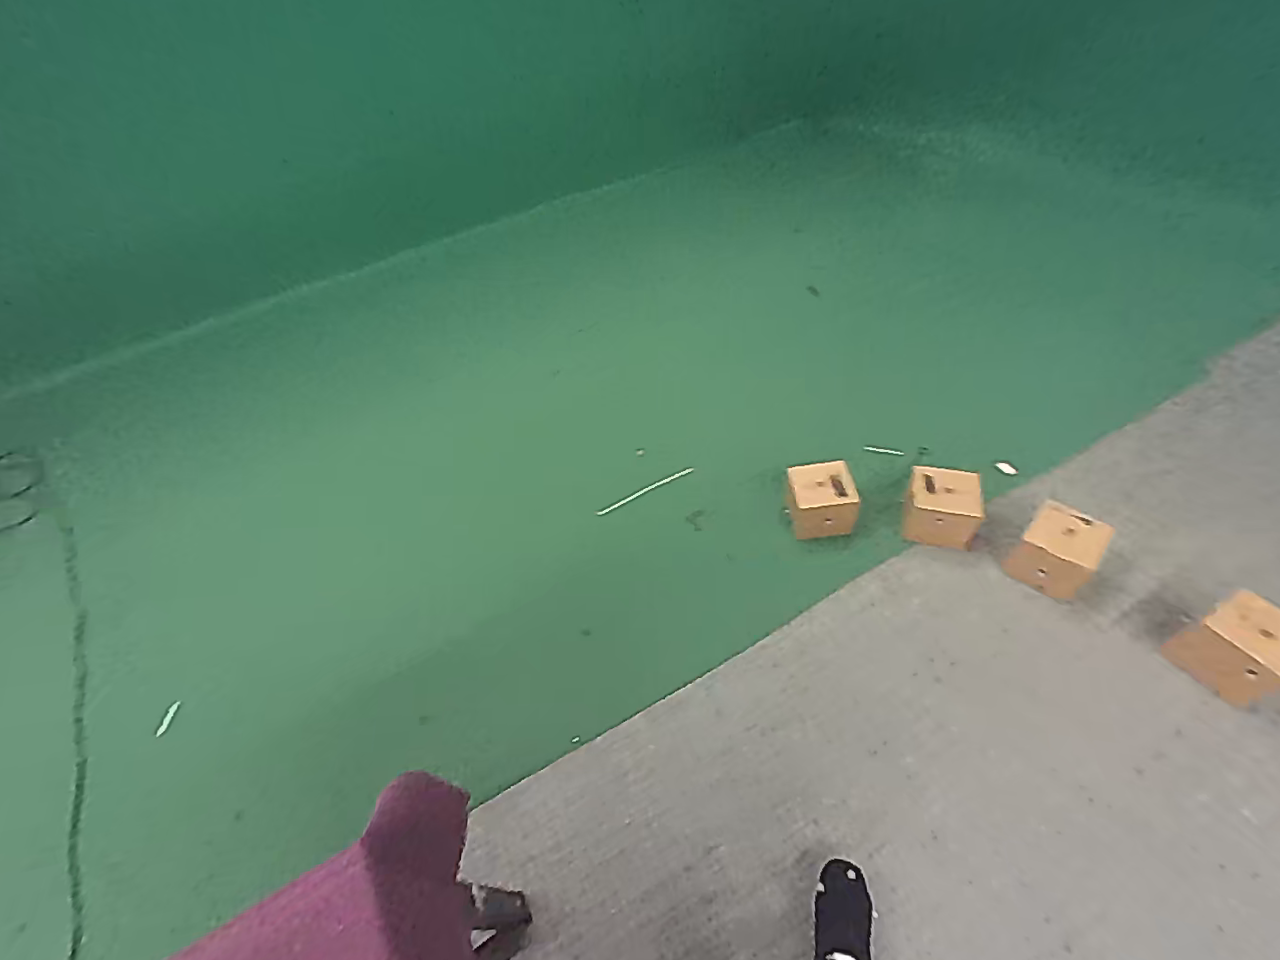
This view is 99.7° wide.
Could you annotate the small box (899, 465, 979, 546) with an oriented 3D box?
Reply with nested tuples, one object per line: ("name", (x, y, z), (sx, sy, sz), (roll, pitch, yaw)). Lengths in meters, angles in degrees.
("small box", (0.889, 0.079, 1.625), (0.179, 0.176, 0.168), (10, 52, 16))

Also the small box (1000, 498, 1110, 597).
("small box", (1.134, 0.189, 1.492), (0.168, 0.176, 0.179), (33, 63, 31))

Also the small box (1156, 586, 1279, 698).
("small box", (1.403, 0.390, 1.277), (0.168, 0.176, 0.179), (-28, 52, -14))
